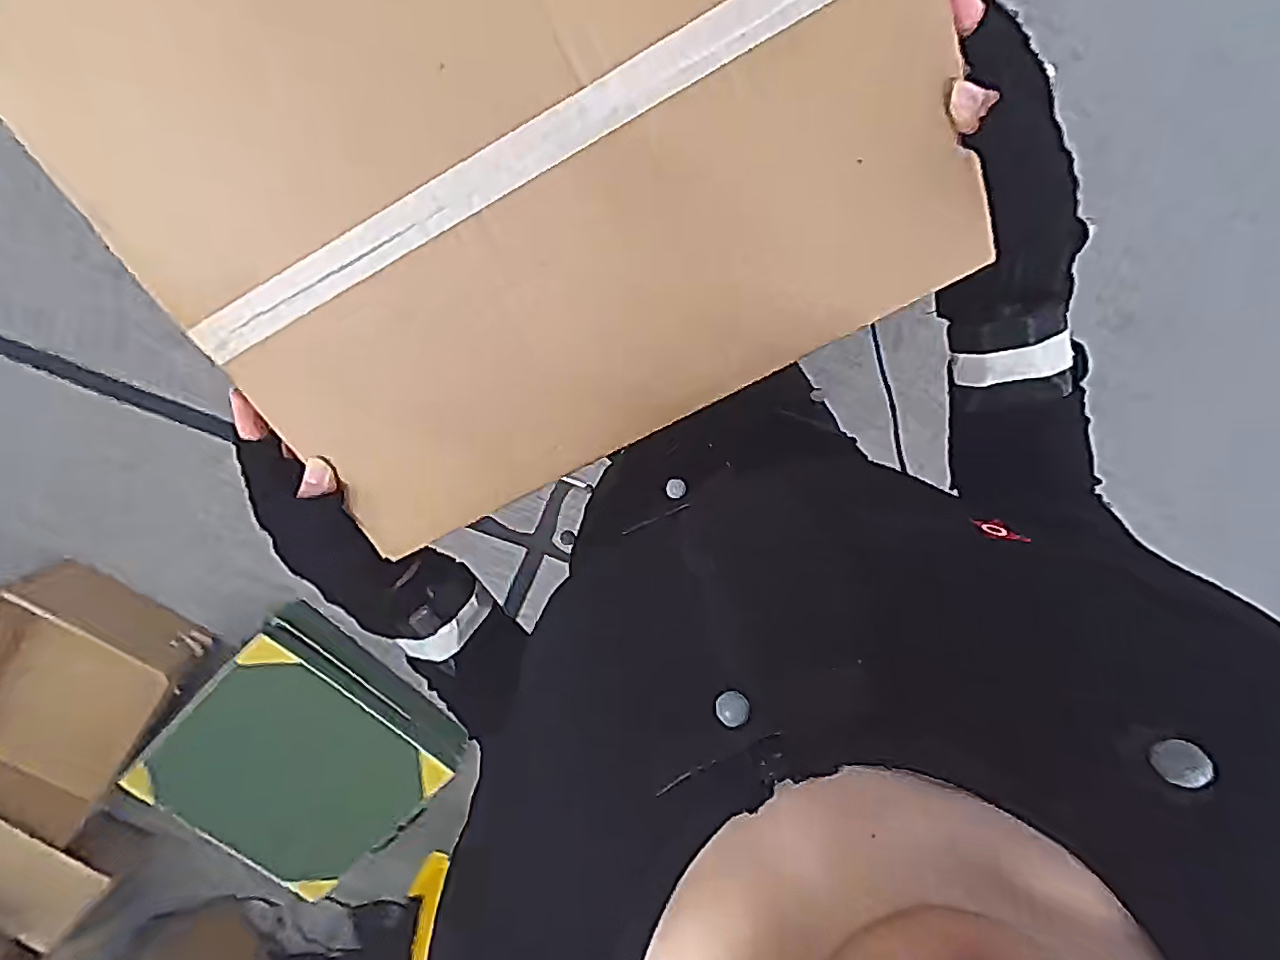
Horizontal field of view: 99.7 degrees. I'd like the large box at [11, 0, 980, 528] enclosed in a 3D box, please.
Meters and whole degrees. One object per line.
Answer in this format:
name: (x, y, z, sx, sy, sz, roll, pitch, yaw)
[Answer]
large box: (-0.056, -0.231, 0.412, 0.408, 0.320, 0.320, -25, 114, 7)
